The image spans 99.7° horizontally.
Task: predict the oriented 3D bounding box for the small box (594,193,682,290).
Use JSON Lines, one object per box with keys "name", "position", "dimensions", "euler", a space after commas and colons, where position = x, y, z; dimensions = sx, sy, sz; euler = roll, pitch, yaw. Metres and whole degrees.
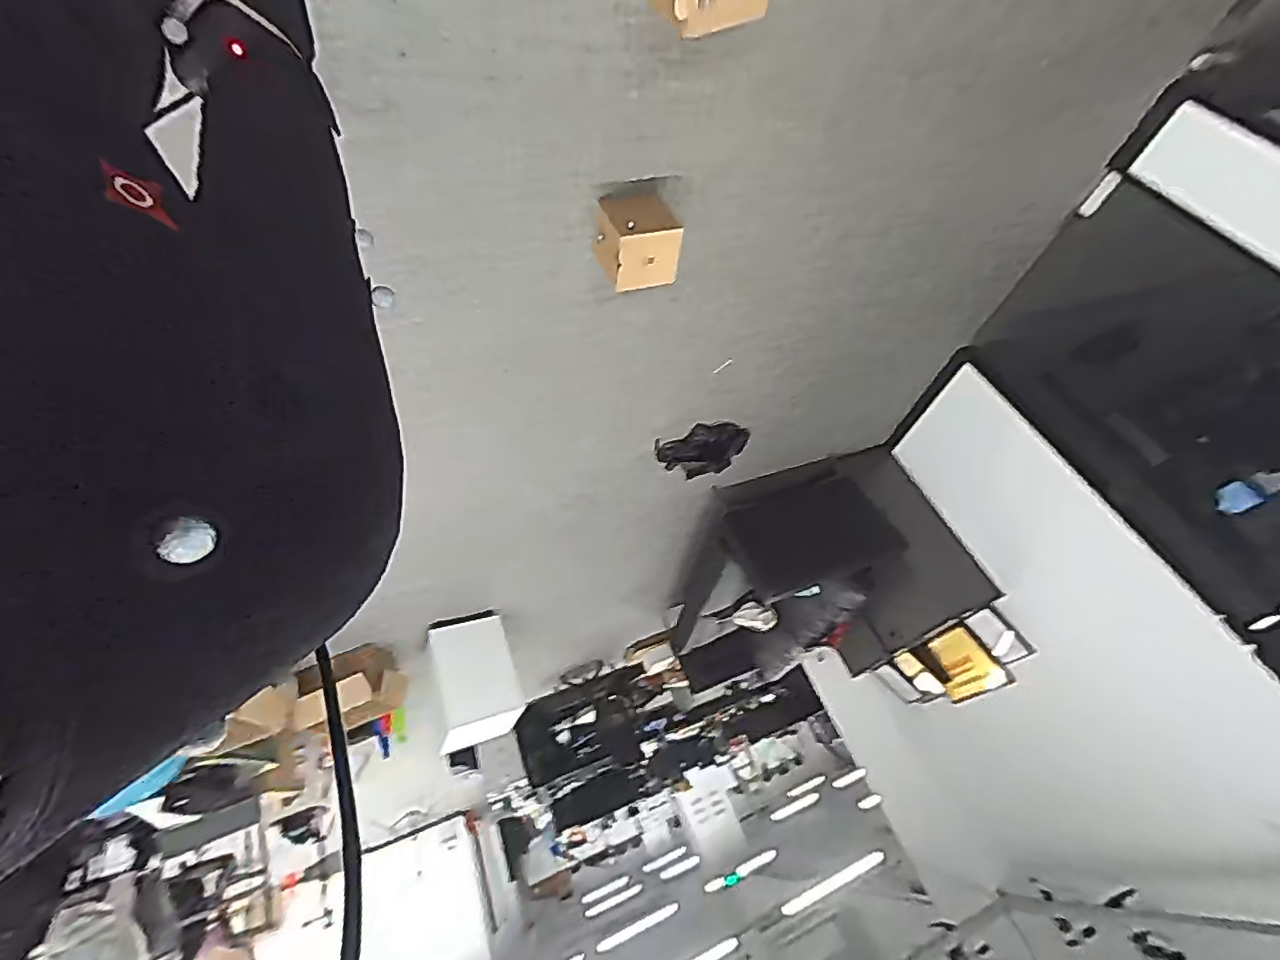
{"name": "small box", "position": [-0.011, -0.636, 1.434], "dimensions": [0.179, 0.176, 0.168], "euler": [-16, 151, -16]}
